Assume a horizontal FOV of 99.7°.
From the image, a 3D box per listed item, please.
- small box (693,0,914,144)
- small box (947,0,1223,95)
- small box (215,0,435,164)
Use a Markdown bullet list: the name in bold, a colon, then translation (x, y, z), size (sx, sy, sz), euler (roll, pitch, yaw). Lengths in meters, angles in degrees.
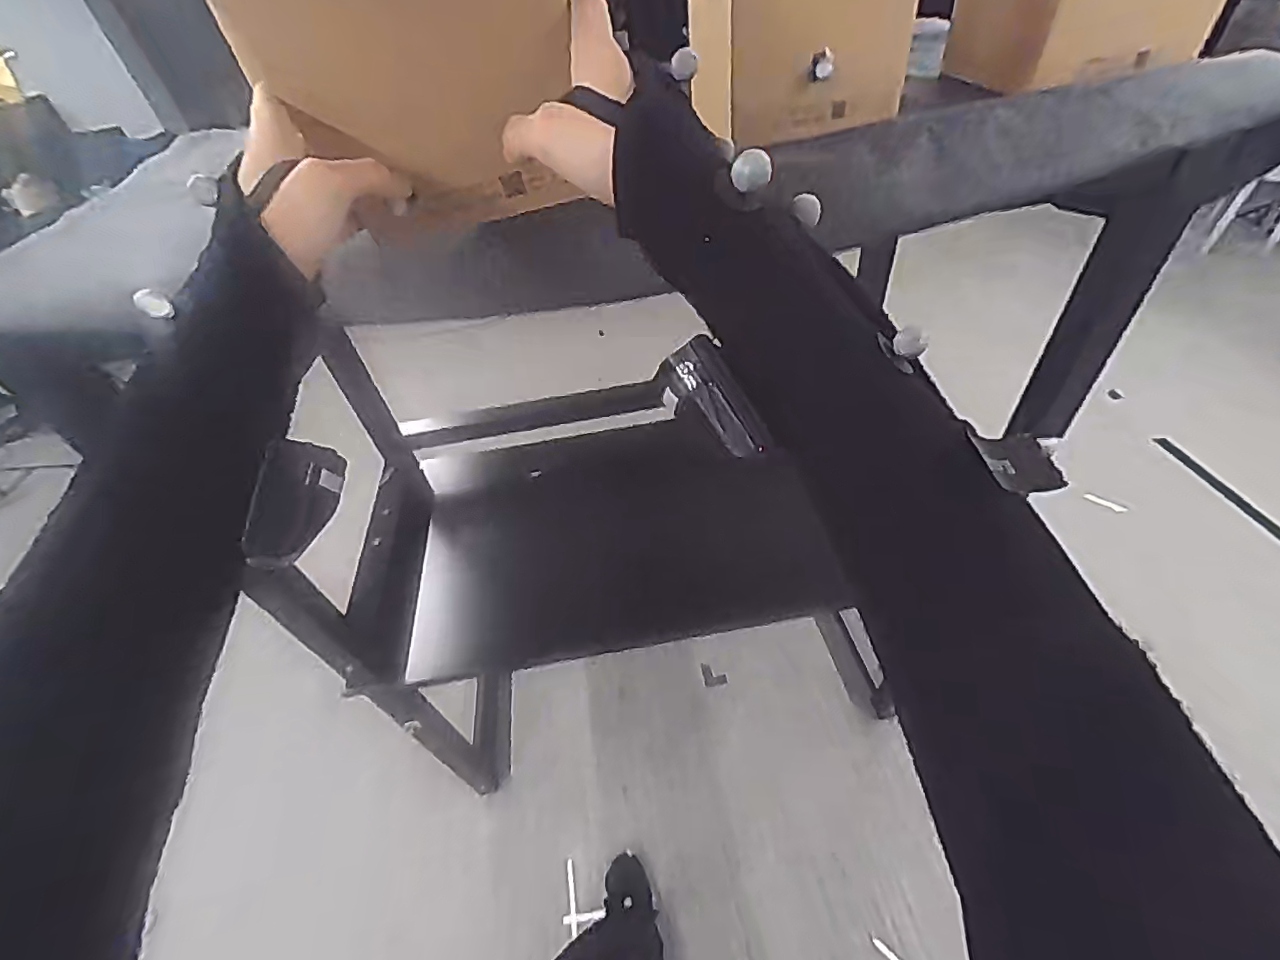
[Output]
- **small box**: translation (0.146, -0.447, 0.527), size (0.168, 0.176, 0.179), euler (-11, 44, -1)
- **small box**: translation (0.441, -0.500, 0.534), size (0.168, 0.176, 0.179), euler (-10, 44, 0)
- **small box**: translation (-0.369, -0.516, 0.674), size (0.168, 0.176, 0.179), euler (-11, 47, -3)
